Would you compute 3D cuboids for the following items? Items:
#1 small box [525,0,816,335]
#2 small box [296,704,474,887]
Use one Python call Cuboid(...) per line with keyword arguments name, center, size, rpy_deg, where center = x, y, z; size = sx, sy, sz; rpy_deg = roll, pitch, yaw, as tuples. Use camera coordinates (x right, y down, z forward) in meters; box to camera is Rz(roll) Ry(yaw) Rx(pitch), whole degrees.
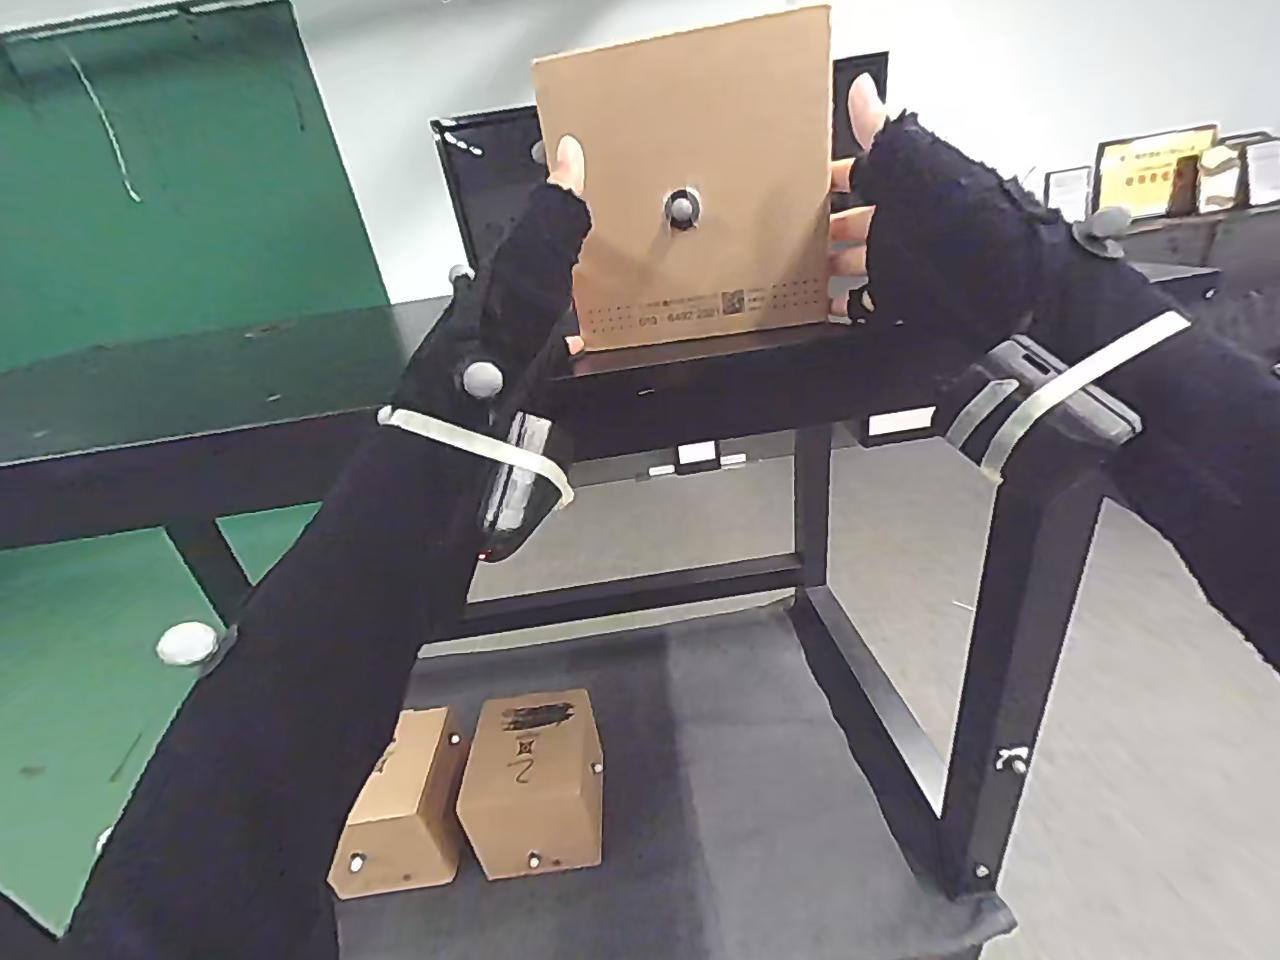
Cuboid(name="small box", center=(0.032, -0.211, 0.402), size=(0.168, 0.176, 0.179), rpy_deg=(-5, 26, 7))
Cuboid(name="small box", center=(-0.363, 0.475, 0.812), size=(0.168, 0.176, 0.179), rpy_deg=(-8, 26, 0))
